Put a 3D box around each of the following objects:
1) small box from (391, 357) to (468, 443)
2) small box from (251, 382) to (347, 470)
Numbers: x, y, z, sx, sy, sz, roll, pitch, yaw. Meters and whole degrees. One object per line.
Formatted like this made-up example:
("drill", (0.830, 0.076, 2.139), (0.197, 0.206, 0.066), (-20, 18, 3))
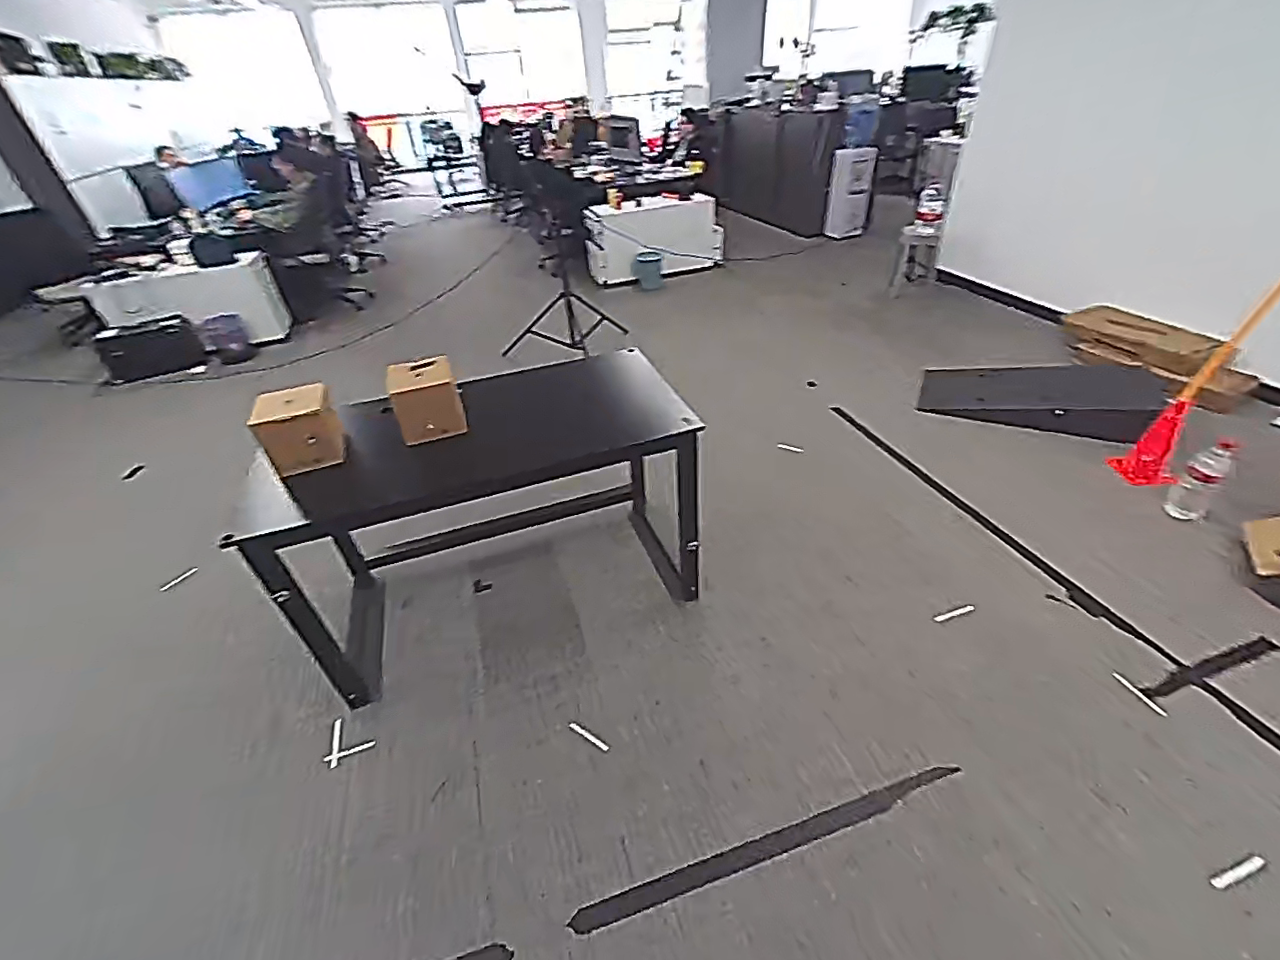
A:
("small box", (-0.601, -0.231, 1.546), (0.168, 0.176, 0.179), (-15, 39, -14))
("small box", (-0.909, -0.141, 1.460), (0.168, 0.176, 0.179), (-16, 38, -17))
